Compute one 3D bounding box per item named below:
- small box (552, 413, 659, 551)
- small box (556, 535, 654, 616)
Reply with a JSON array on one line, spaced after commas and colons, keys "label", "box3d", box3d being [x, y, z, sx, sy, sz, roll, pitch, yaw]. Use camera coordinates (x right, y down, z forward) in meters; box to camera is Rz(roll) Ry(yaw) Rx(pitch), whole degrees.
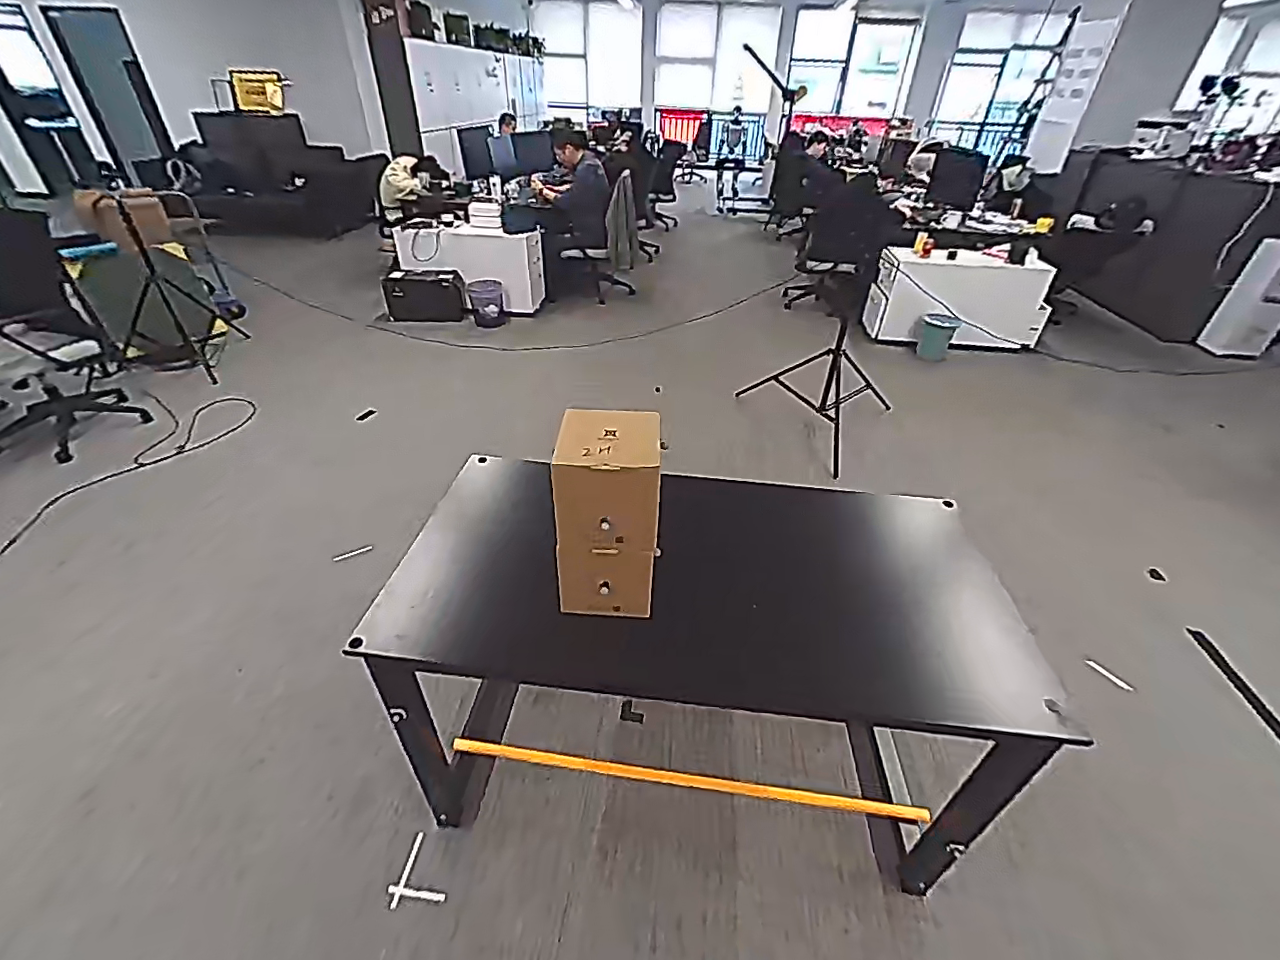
[{"label": "small box", "box3d": [-0.053, 0.001, 0.928, 0.168, 0.176, 0.179, 1, 36, 1]}, {"label": "small box", "box3d": [-0.057, 0.138, 1.022, 0.168, 0.176, 0.179, 2, 36, 1]}]
